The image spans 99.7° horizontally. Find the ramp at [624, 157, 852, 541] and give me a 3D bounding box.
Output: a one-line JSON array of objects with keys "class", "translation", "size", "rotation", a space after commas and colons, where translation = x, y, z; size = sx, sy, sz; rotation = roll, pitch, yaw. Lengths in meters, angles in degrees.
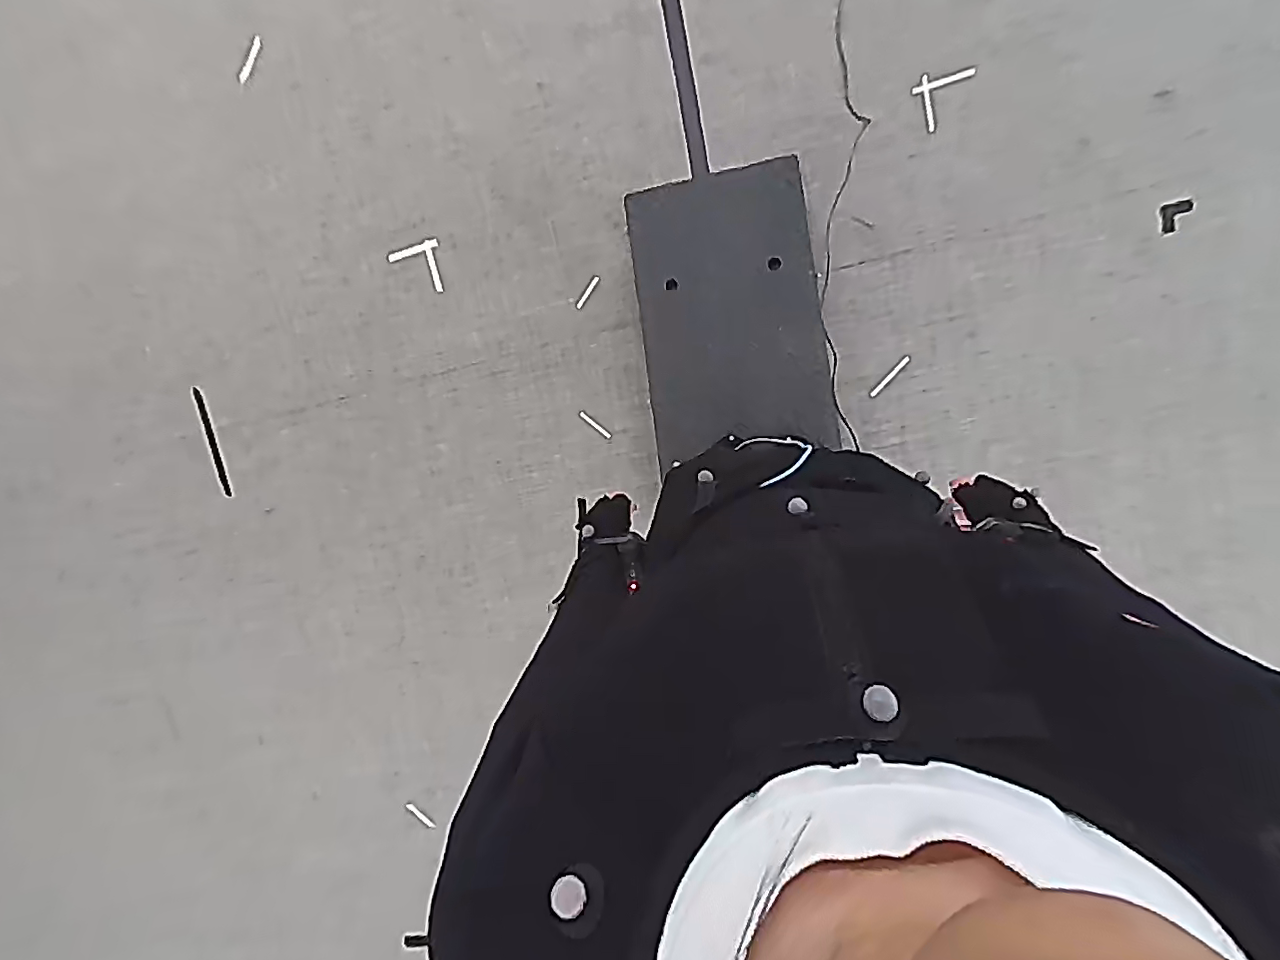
[{"class": "ramp", "translation": [0.250, -0.355, 1.487], "size": [0.509, 0.206, 0.991], "rotation": [-10, 96, 12]}]
